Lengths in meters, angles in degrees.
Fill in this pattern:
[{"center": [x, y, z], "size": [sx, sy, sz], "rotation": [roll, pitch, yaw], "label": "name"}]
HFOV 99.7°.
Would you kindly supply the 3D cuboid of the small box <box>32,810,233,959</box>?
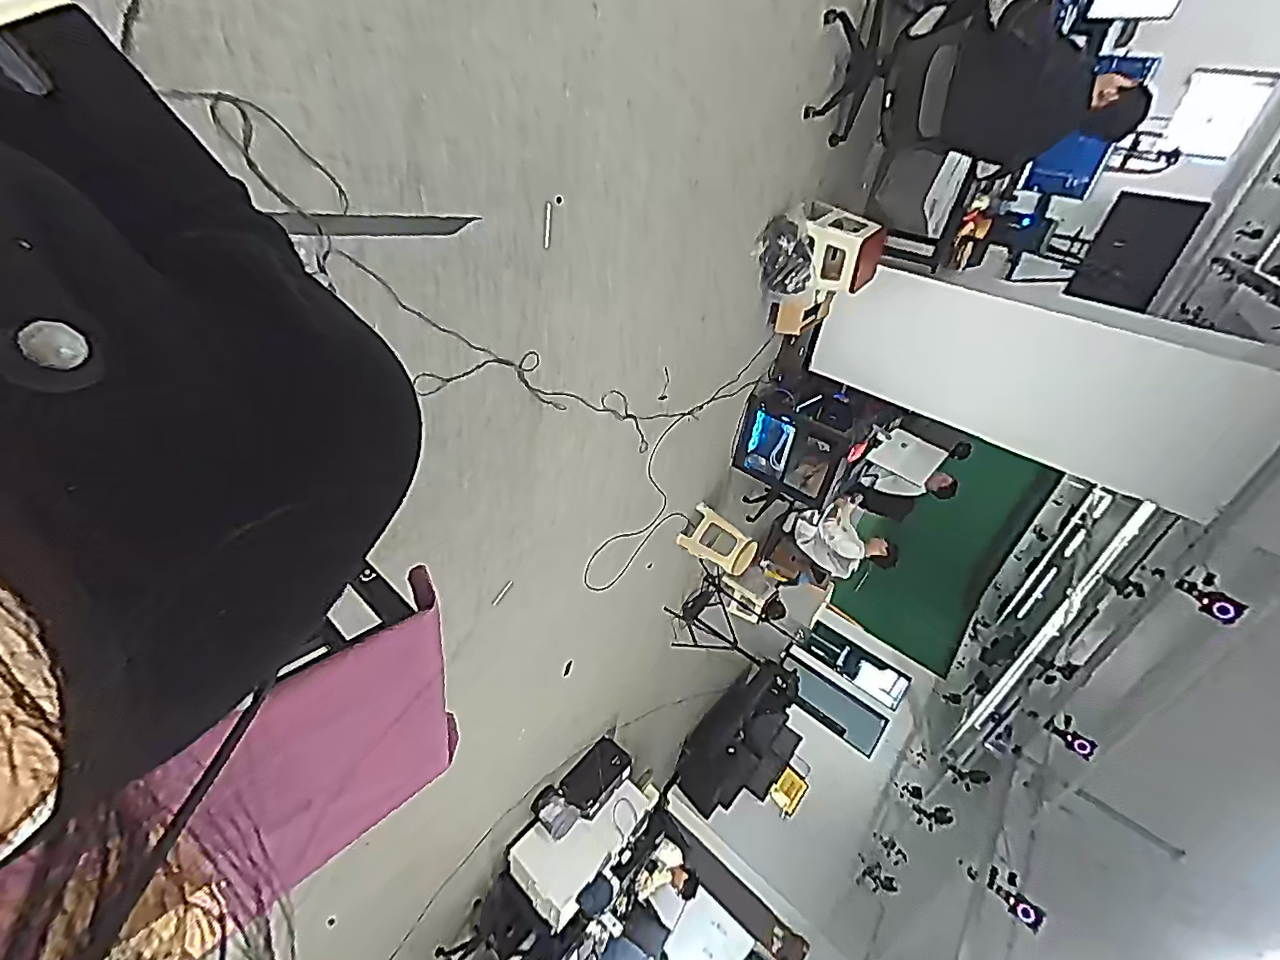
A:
[{"center": [-0.762, 0.654, 0.822], "size": [0.168, 0.176, 0.179], "rotation": [-27, 138, -47], "label": "small box"}]
